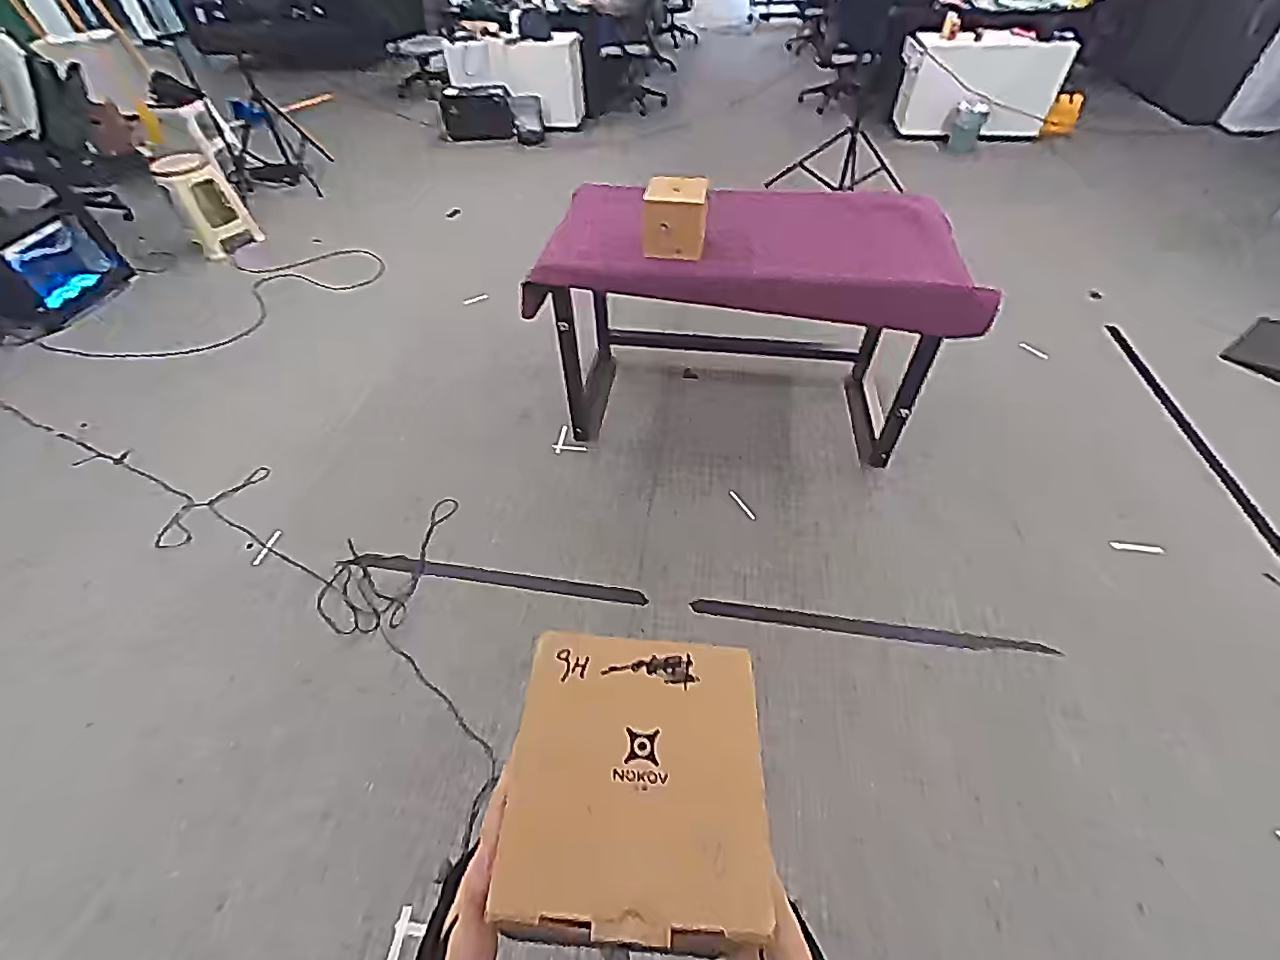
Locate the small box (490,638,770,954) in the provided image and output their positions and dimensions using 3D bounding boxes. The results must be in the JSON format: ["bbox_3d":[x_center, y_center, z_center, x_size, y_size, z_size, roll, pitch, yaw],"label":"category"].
[{"bbox_3d":[-0.006,0.248,0.422,0.168,0.176,0.179,6,46,-1],"label":"small box"}]

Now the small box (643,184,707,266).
[{"bbox_3d":[0.105,-0.749,1.592,0.168,0.176,0.179,7,48,7],"label":"small box"}]
